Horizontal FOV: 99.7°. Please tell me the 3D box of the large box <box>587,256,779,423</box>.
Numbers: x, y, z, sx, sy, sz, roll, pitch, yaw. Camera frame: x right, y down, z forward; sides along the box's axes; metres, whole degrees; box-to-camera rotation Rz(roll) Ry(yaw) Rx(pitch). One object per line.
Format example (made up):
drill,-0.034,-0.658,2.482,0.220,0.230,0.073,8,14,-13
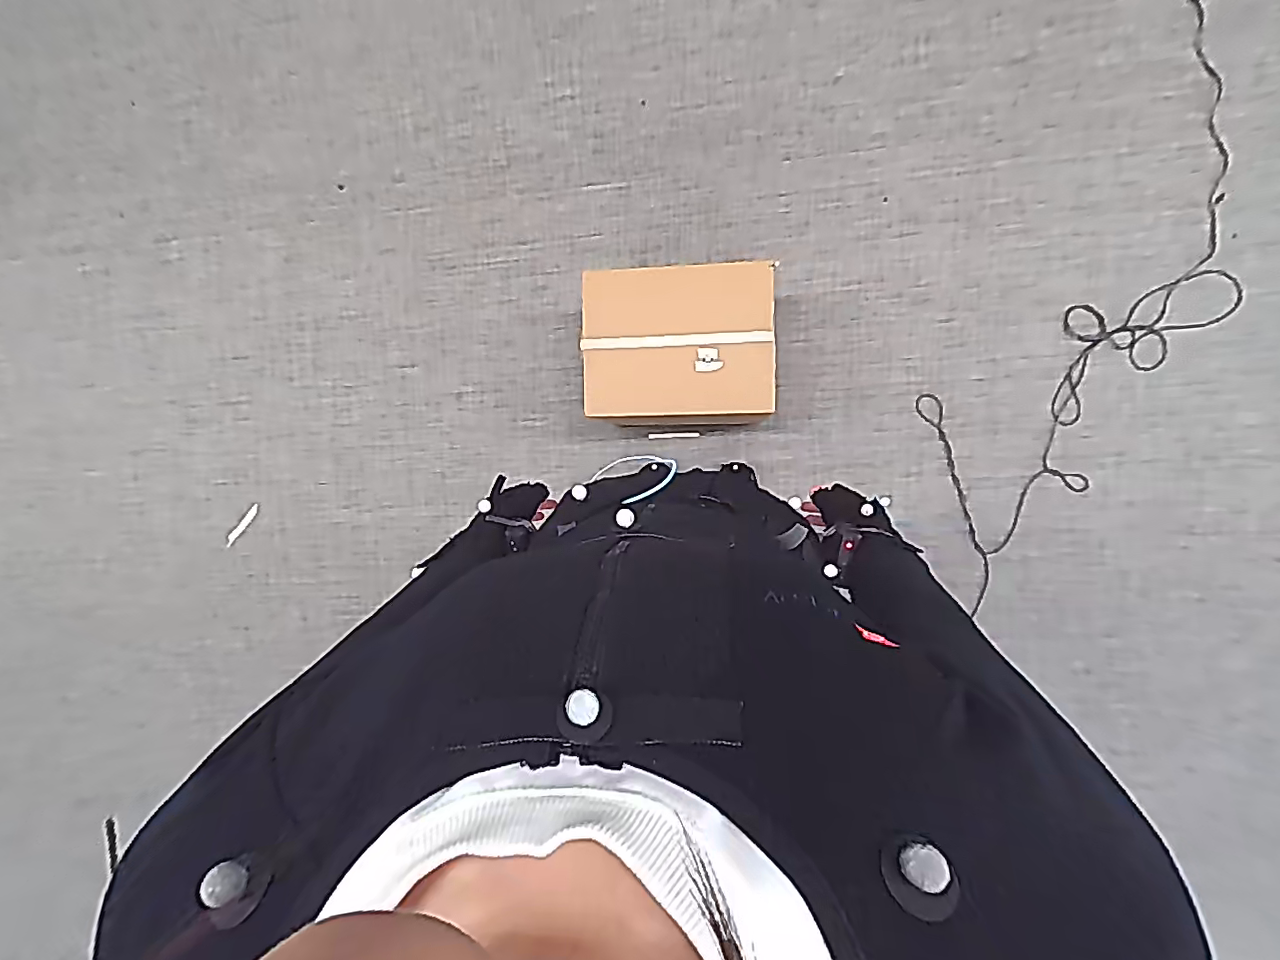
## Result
large box,0.103,-0.308,1.285,0.408,0.320,0.320,-1,92,7
